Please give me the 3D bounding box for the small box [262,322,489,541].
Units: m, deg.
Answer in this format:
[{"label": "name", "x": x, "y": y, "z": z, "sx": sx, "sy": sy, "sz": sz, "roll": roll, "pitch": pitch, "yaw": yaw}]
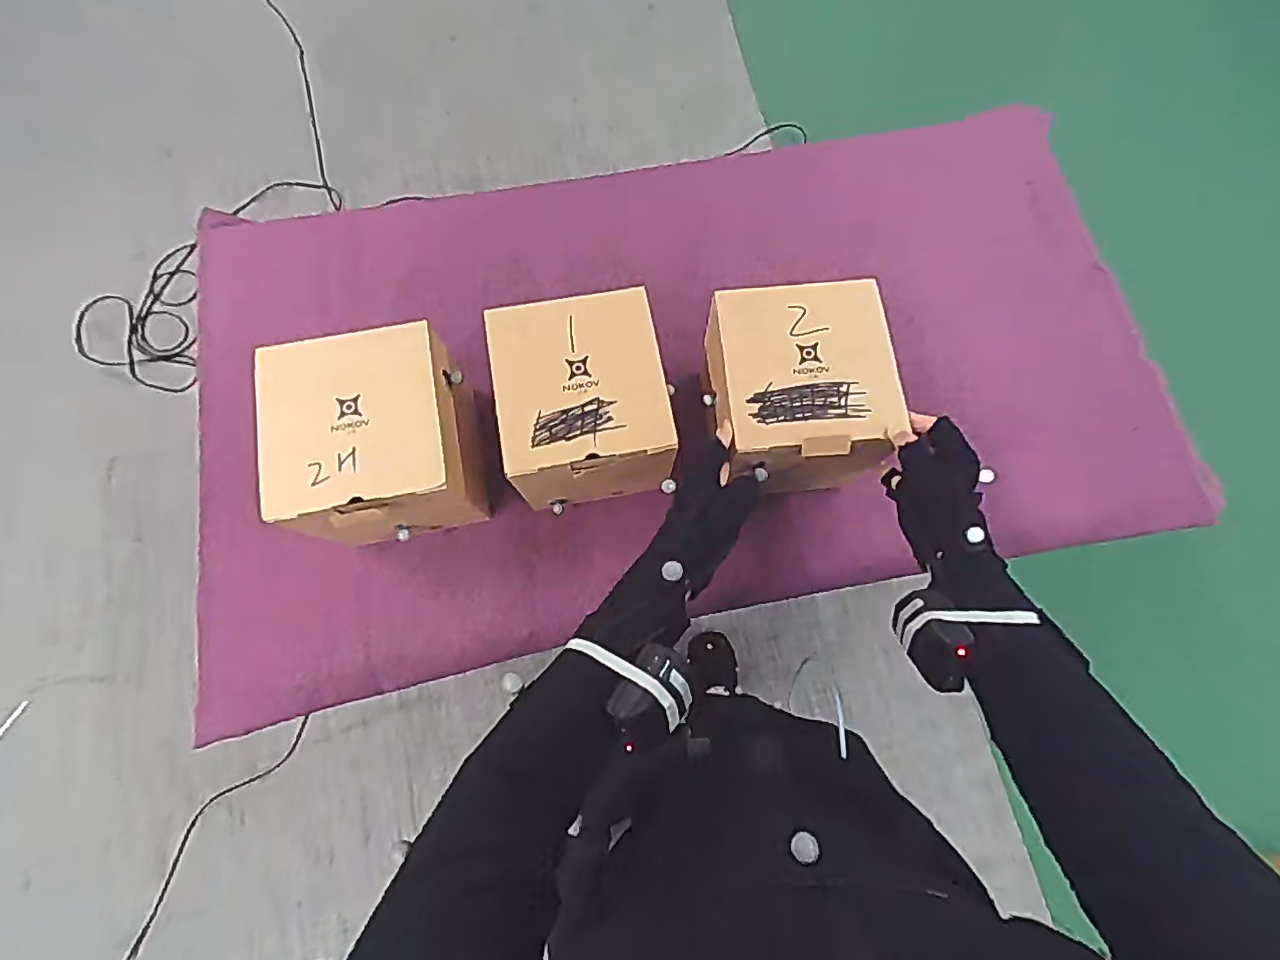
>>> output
[{"label": "small box", "x": -0.273, "y": -0.042, "z": 0.588, "sx": 0.168, "sy": 0.176, "sz": 0.179, "roll": -11, "pitch": 77, "yaw": -4}]
